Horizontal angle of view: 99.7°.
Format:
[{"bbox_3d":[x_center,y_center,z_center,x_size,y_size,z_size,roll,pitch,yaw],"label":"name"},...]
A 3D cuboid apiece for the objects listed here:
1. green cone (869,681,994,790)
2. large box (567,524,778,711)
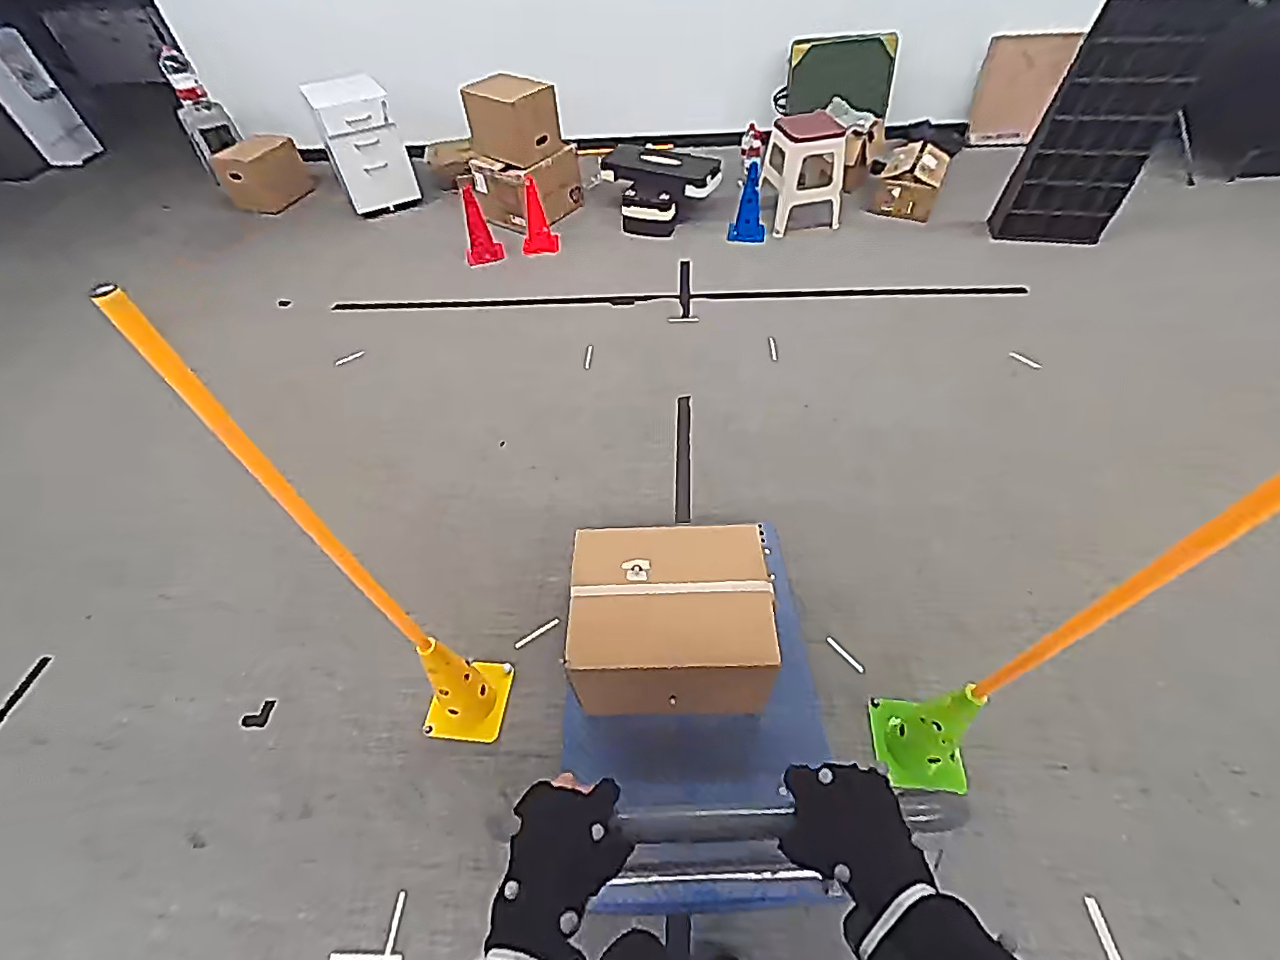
[{"bbox_3d":[0.669,0.528,1.190,0.202,0.368,0.200,4,51,5],"label":"green cone"},{"bbox_3d":[0.069,0.319,1.216,0.408,0.320,0.320,-2,51,3],"label":"large box"}]
